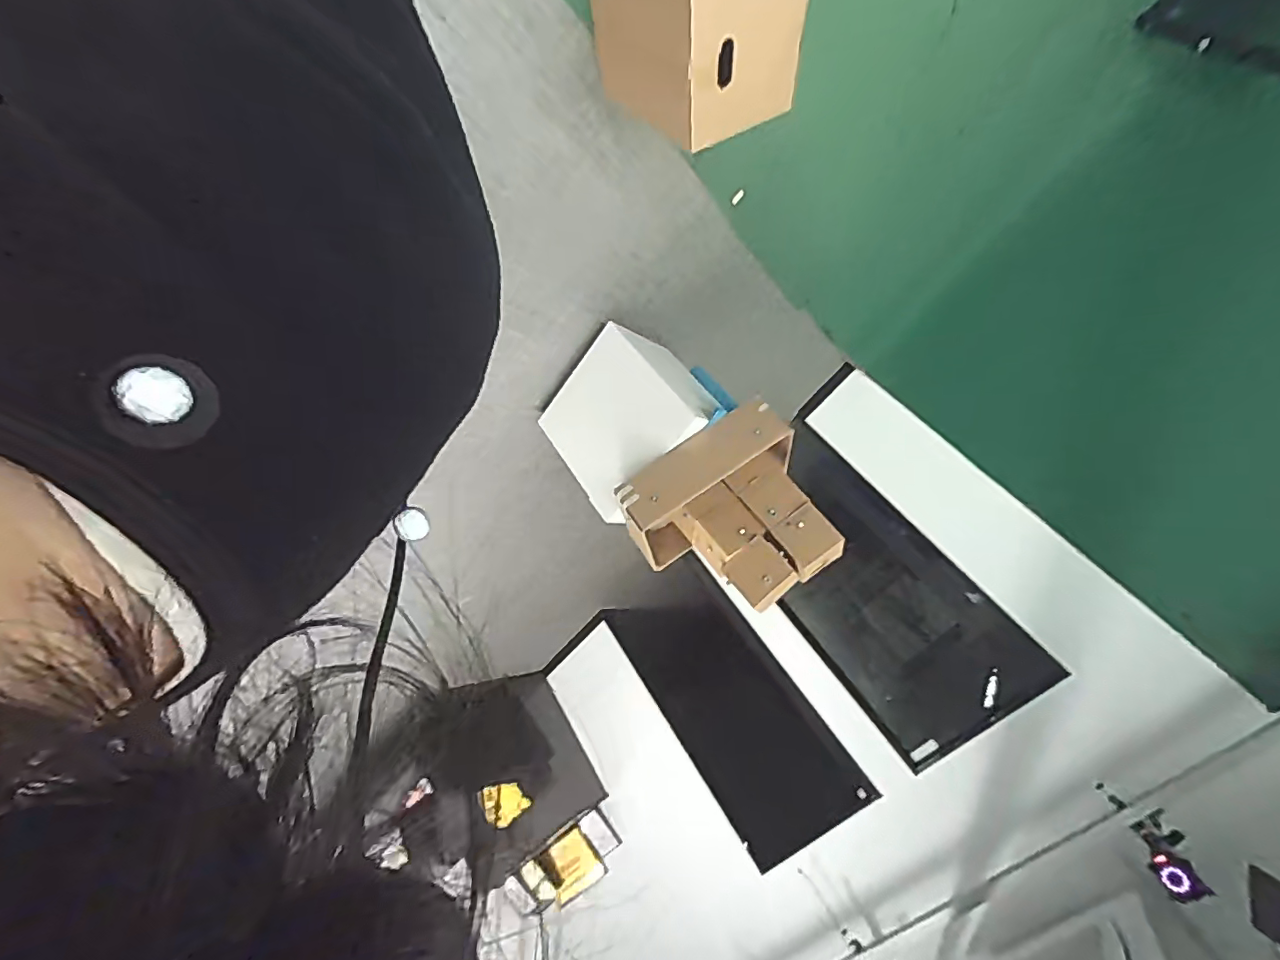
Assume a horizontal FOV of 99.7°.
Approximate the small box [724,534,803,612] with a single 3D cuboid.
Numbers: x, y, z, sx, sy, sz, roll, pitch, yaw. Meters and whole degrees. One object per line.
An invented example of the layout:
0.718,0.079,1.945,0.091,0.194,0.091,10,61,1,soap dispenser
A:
0.401,0.300,1.757,0.179,0.176,0.168,-43,152,3,small box
